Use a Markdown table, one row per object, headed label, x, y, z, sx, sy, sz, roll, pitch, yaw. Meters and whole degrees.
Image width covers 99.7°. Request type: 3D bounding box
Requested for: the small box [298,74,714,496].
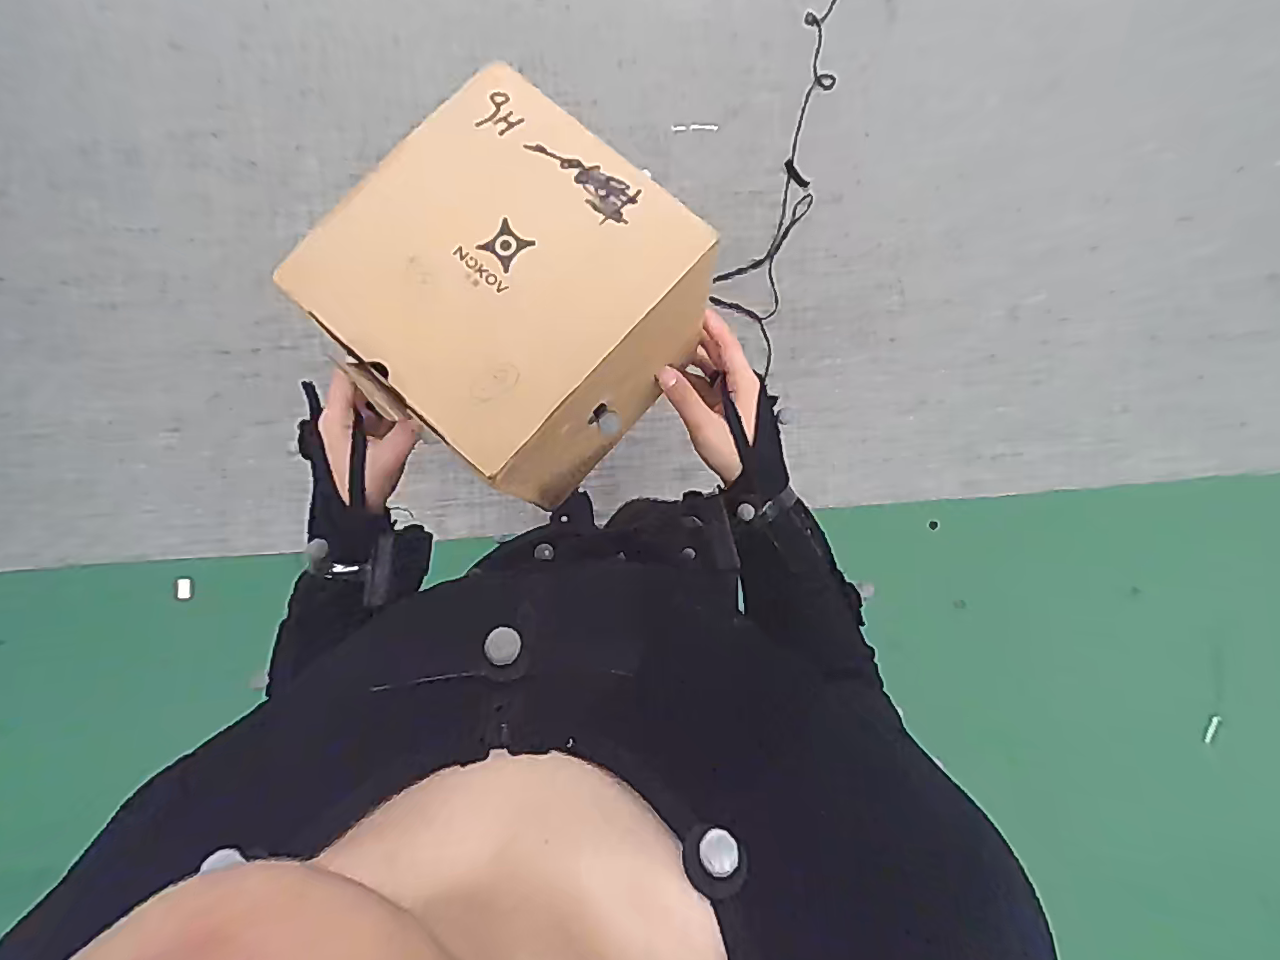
| label | x | y | z | sx | sy | sz | roll | pitch | yaw |
| --- | --- | --- | --- | --- | --- | --- | --- | --- | --- |
| small box | -0.070 | -0.106 | 0.373 | 0.168 | 0.176 | 0.179 | 41 | 85 | 6 |
